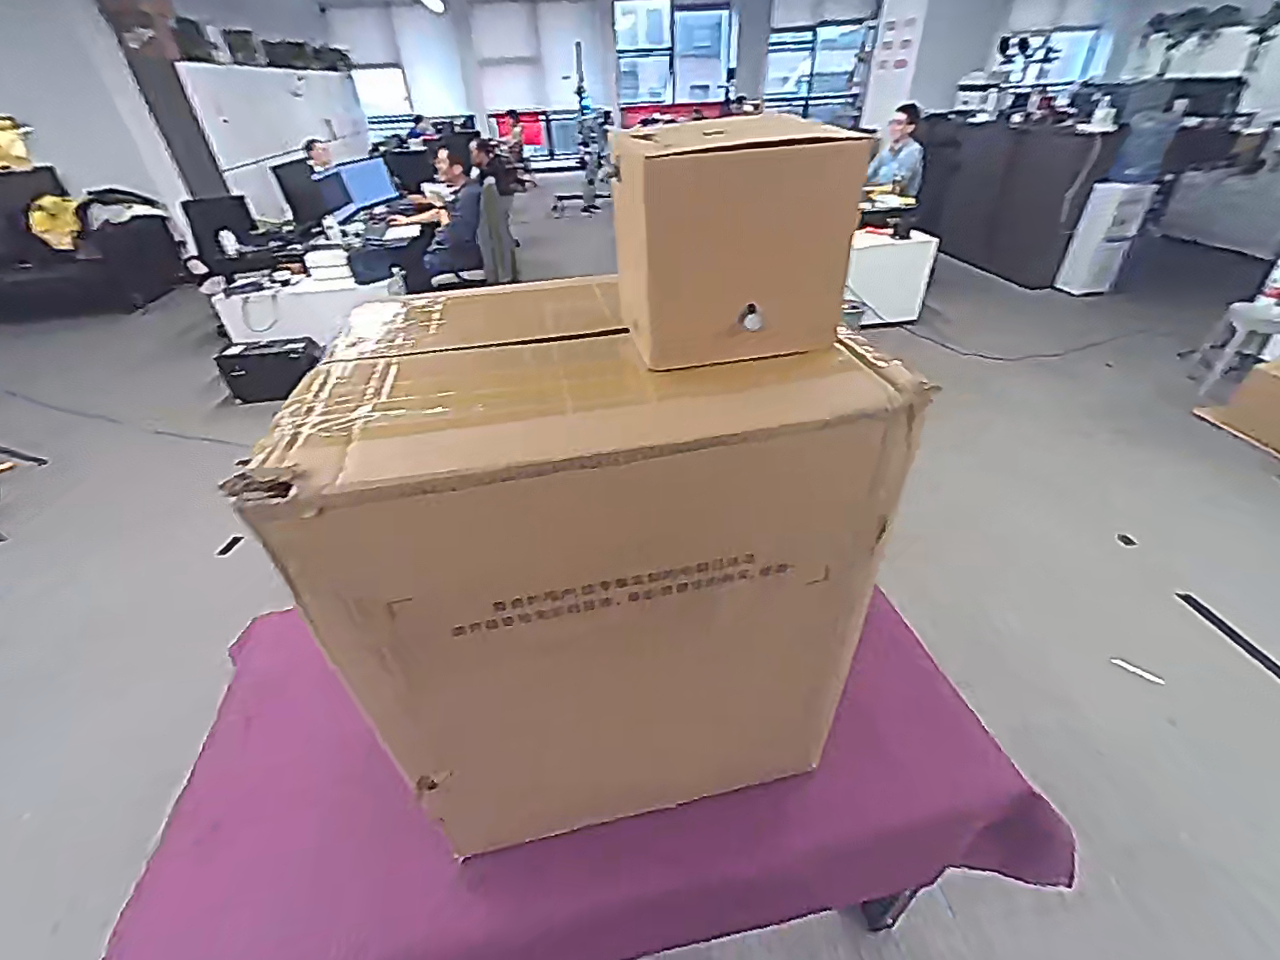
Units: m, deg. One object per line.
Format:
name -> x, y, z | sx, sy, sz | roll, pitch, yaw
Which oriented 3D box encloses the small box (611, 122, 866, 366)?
small box -> 0.073, -0.221, 0.502 | 0.179, 0.176, 0.168 | -9, 37, -7
